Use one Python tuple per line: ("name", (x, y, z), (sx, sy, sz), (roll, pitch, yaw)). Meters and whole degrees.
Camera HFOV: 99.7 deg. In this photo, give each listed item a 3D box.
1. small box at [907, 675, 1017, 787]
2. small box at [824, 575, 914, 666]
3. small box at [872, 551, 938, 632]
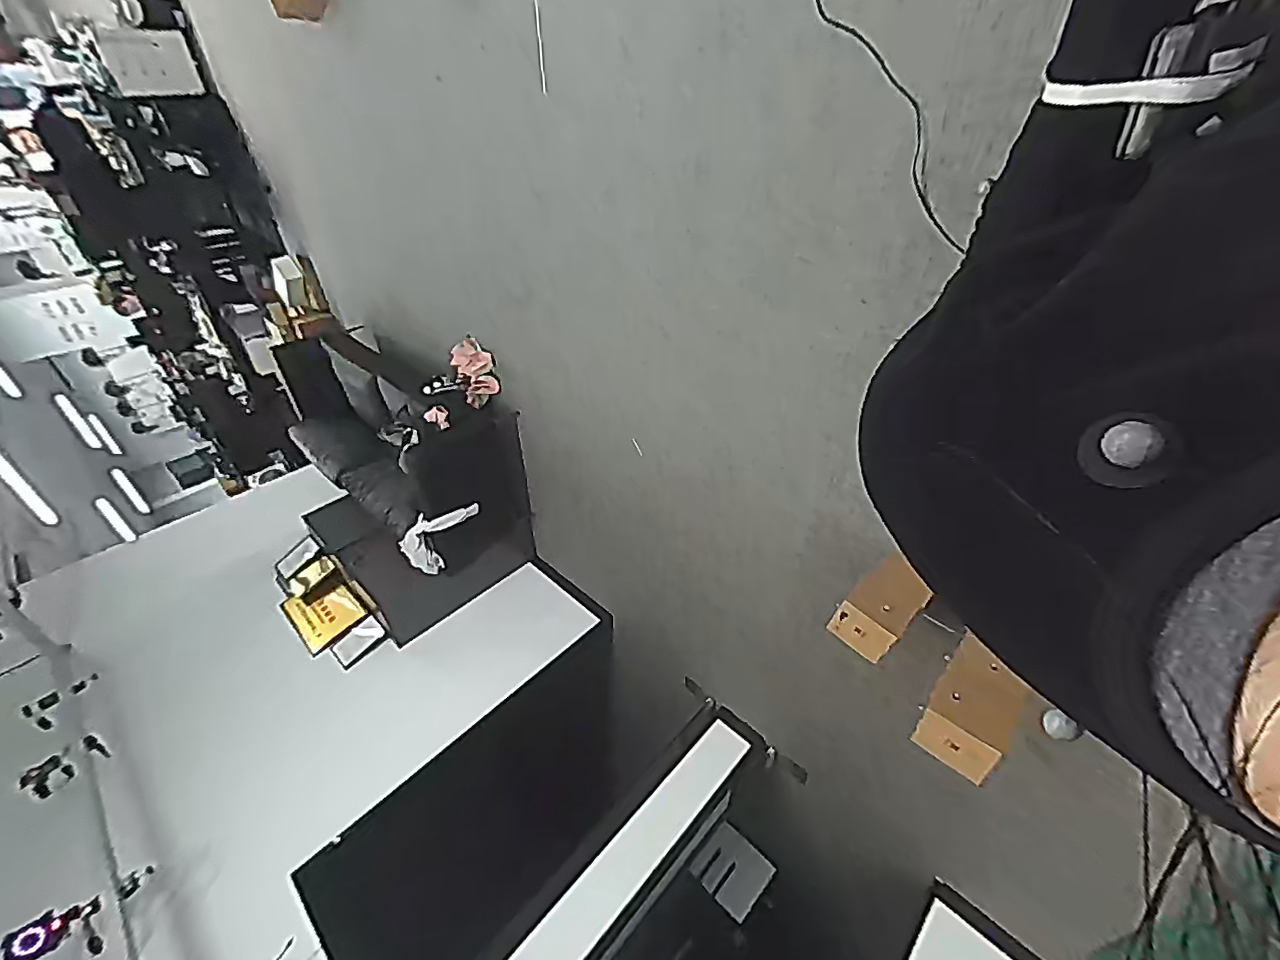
("small box", (0.830, 0.637, 1.398), (0.179, 0.176, 0.168), (29, 136, 33))
("small box", (0.709, 0.429, 1.672), (0.179, 0.176, 0.168), (37, 139, 25))
("small box", (0.834, 0.368, 1.761), (0.168, 0.176, 0.179), (37, 139, 25))
